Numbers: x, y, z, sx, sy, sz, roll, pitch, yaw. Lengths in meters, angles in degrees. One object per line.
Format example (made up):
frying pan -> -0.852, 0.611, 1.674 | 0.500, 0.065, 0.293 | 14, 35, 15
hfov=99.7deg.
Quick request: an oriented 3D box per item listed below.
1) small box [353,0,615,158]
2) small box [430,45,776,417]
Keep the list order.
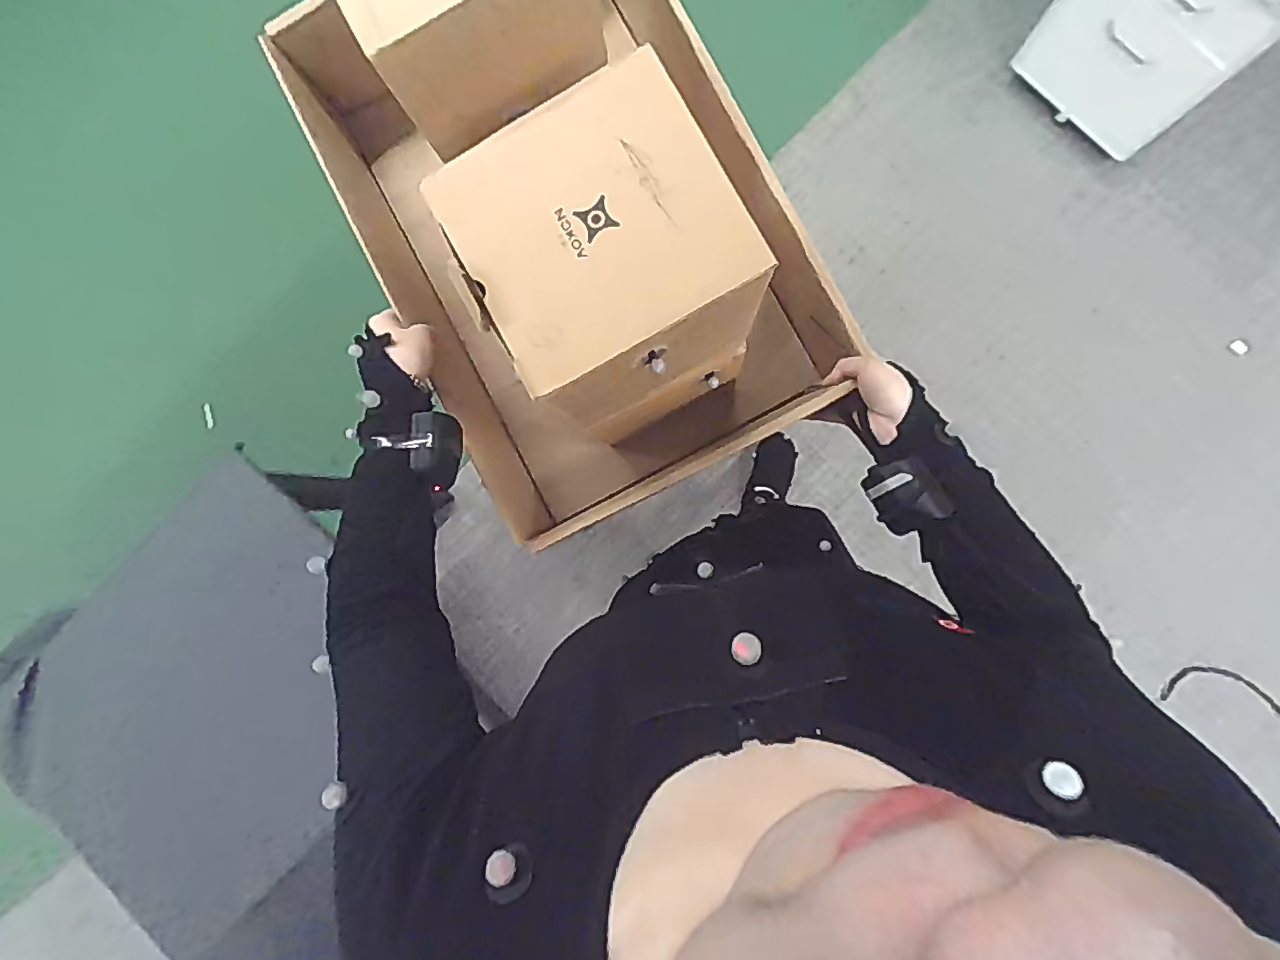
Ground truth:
small box -> -0.132, -0.391, 0.430 | 0.168, 0.176, 0.179 | -27, 90, 3
small box -> -0.020, -0.164, 0.423 | 0.179, 0.176, 0.168 | -29, 88, 3
